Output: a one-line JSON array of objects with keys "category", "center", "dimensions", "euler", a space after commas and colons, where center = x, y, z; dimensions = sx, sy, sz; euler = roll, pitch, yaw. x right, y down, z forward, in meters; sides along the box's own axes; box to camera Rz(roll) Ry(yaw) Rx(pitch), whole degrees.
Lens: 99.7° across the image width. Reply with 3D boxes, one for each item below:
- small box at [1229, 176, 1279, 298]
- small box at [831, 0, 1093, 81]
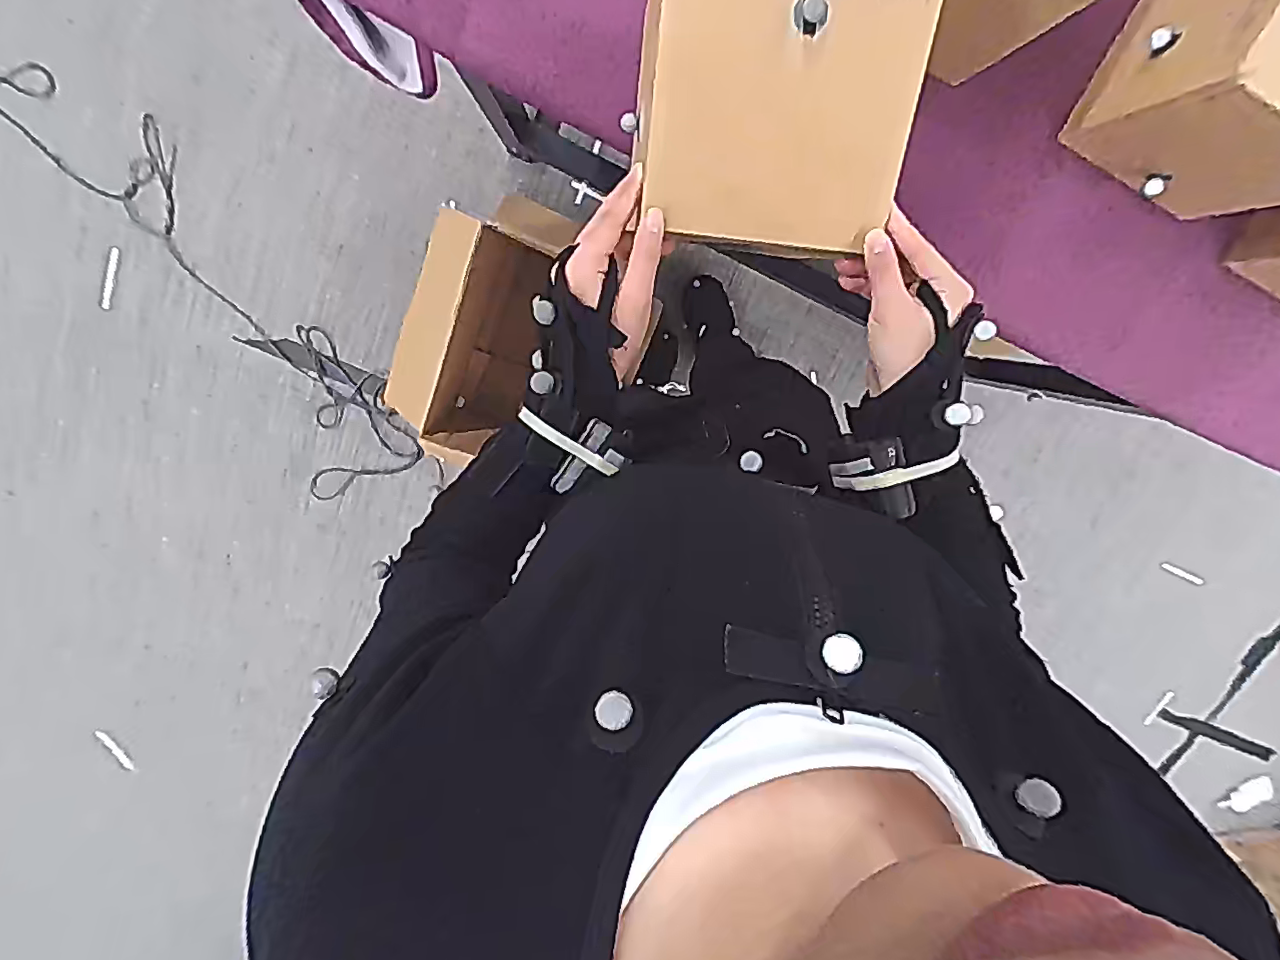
[{"category": "small box", "center": [0.761, -0.257, 0.519], "dimensions": [0.179, 0.176, 0.168], "euler": [23, 102, -11]}, {"category": "small box", "center": [0.280, -0.470, 0.423], "dimensions": [0.168, 0.176, 0.179], "euler": [22, 105, -10]}]
